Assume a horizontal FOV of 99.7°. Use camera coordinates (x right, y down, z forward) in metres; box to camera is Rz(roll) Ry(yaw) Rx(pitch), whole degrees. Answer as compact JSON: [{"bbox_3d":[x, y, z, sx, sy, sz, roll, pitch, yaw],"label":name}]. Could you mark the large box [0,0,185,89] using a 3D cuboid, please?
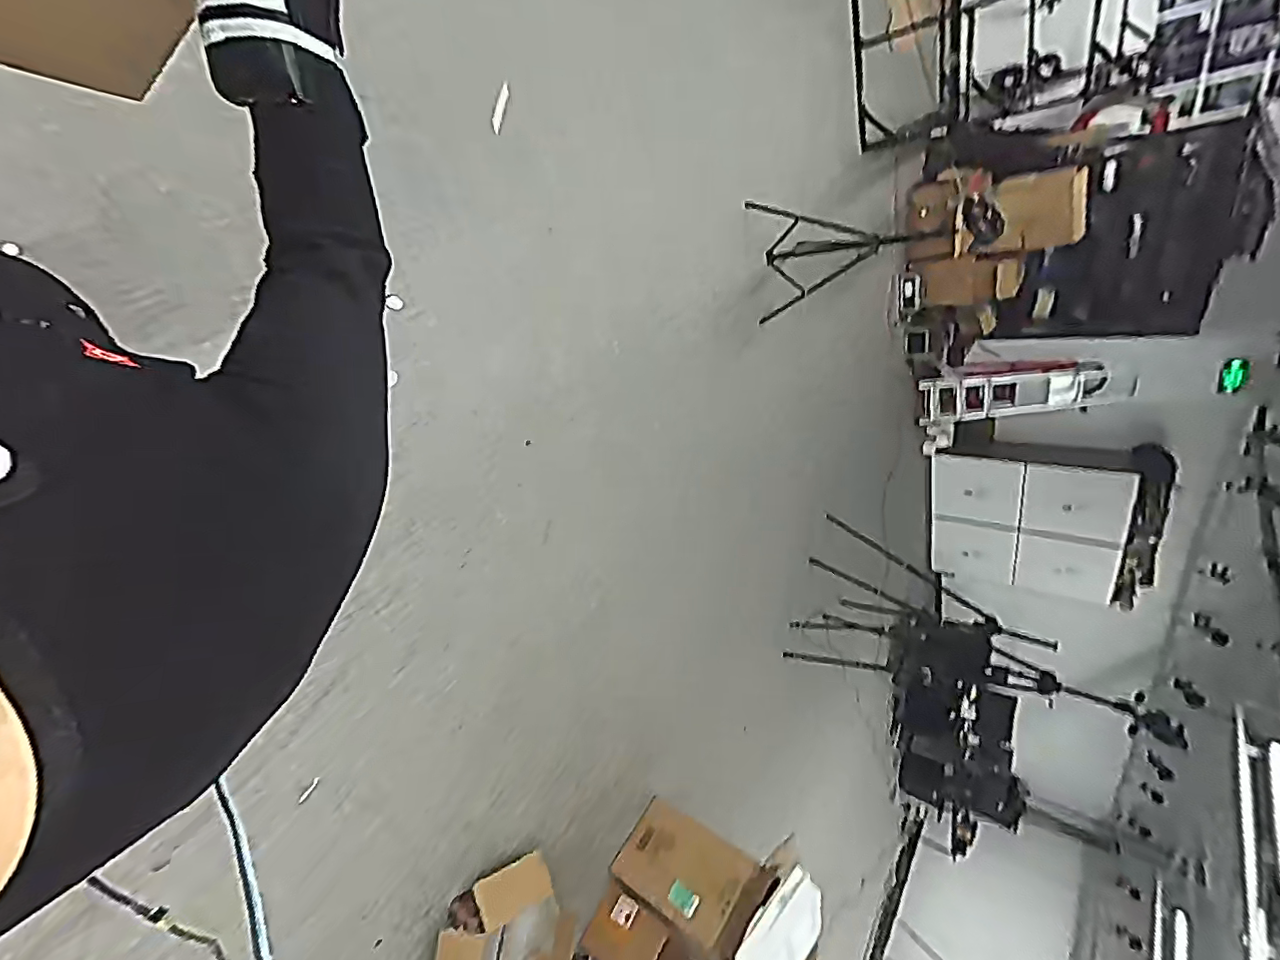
[{"bbox_3d":[-0.500,-0.460,0.244,0.408,0.320,0.320,-16,111,-49],"label":"large box"}]
